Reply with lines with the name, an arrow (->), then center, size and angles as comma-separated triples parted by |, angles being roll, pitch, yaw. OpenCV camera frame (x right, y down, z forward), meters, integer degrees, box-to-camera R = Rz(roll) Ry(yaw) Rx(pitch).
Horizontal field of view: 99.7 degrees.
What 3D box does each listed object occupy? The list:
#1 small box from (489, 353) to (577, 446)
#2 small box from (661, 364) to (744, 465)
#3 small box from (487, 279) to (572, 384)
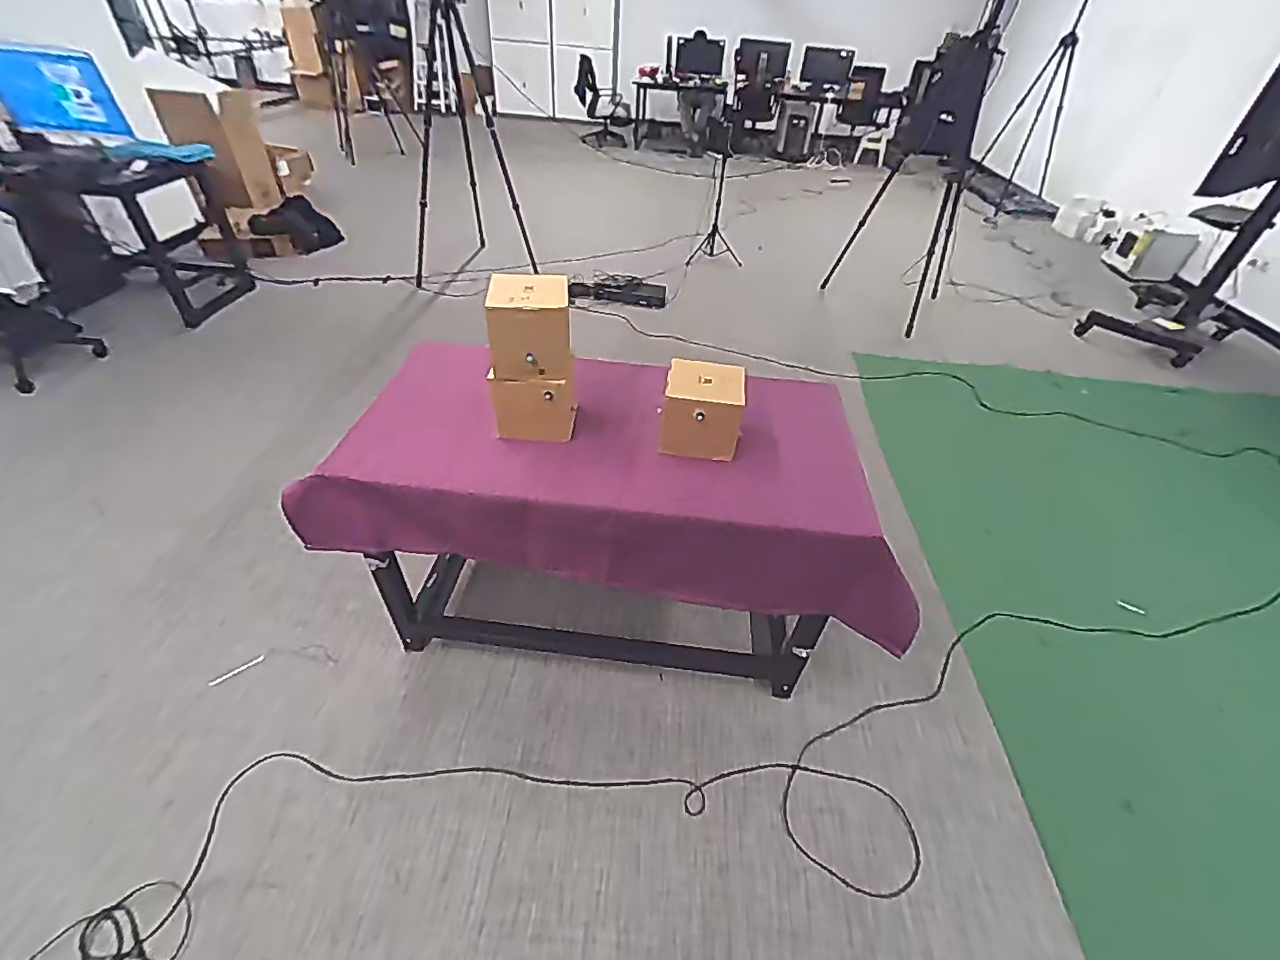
small box -> -0.248, -0.196, 1.296 | 0.179, 0.176, 0.168 | 4, 41, -2
small box -> 0.146, -0.154, 1.278 | 0.179, 0.176, 0.168 | 8, 42, 4
small box -> -0.238, -0.328, 1.196 | 0.168, 0.176, 0.179 | -2, 42, -7
